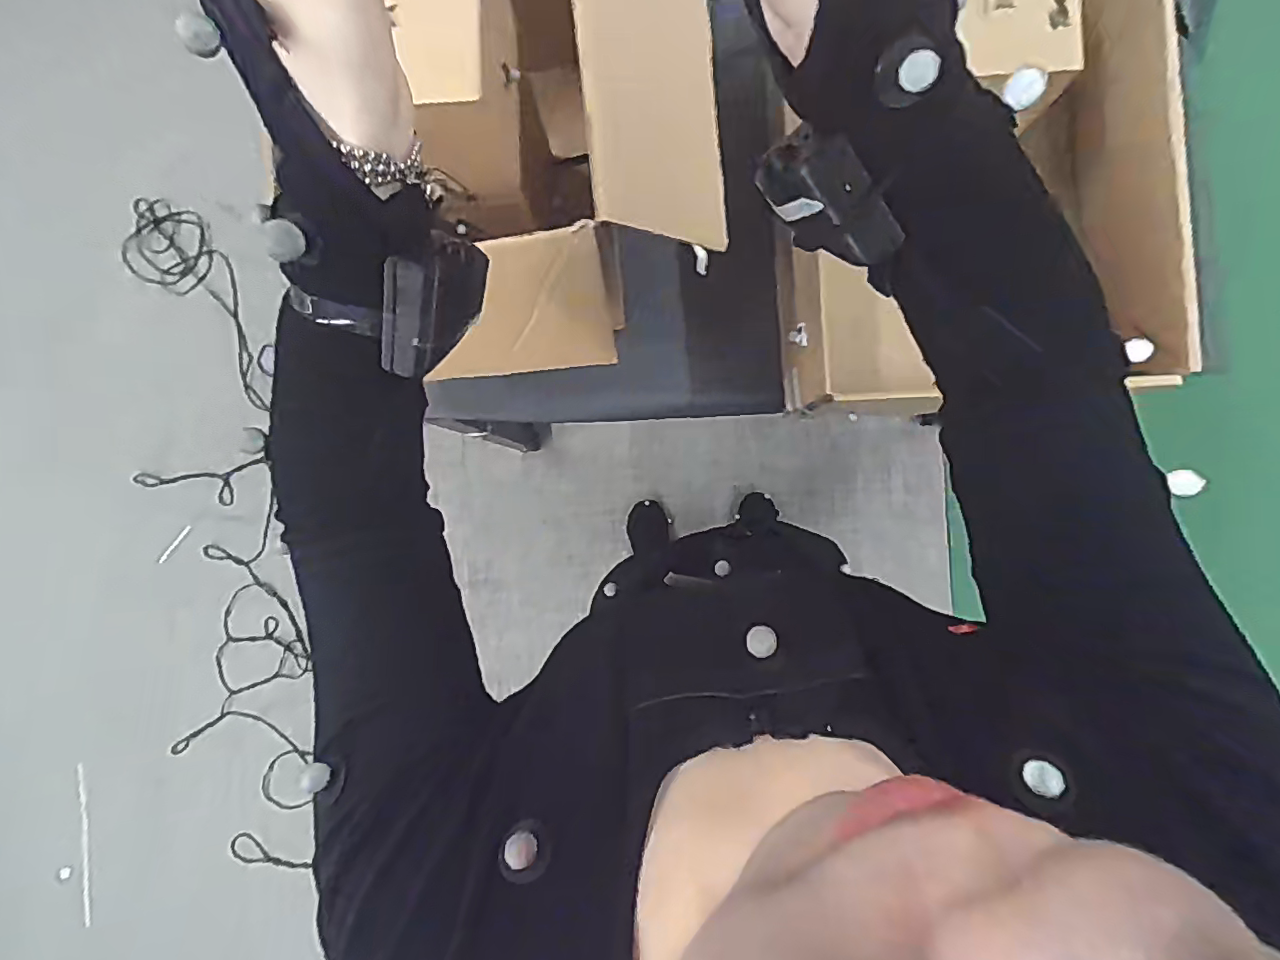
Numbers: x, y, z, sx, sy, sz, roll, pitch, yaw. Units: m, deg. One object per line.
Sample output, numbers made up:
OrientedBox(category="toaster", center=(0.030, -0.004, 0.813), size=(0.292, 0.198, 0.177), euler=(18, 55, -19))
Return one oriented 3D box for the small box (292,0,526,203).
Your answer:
OrientedBox(category="small box", center=(-0.217, -0.410, 0.547), size=(0.168, 0.176, 0.179), euler=(-1, 91, 2))
